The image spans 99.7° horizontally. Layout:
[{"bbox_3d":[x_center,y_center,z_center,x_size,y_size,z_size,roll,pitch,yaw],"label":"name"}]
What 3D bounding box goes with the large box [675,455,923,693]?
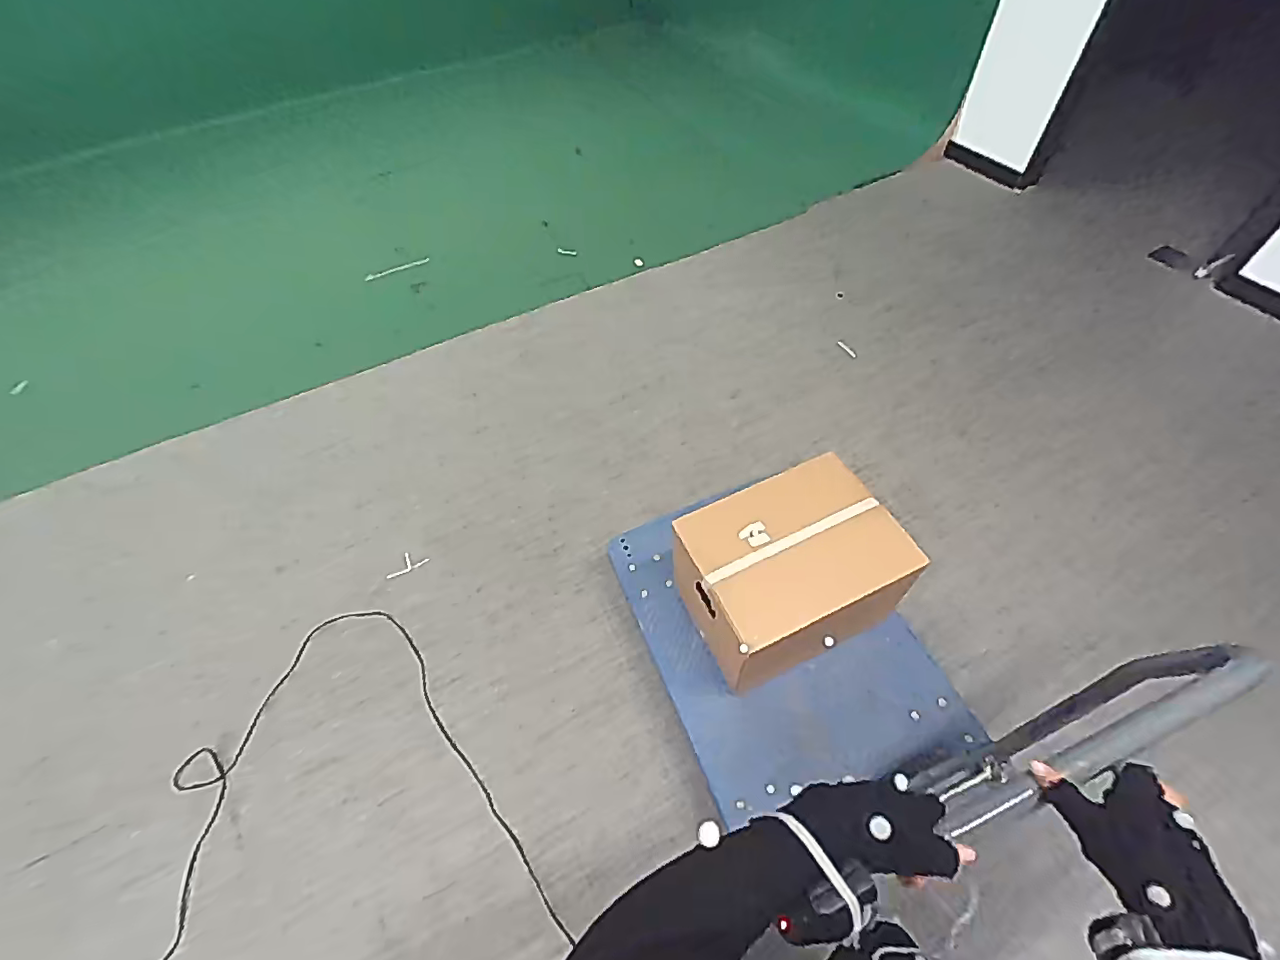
[{"bbox_3d":[0.326,0.214,1.213,0.408,0.320,0.320,-24,55,-11],"label":"large box"}]
